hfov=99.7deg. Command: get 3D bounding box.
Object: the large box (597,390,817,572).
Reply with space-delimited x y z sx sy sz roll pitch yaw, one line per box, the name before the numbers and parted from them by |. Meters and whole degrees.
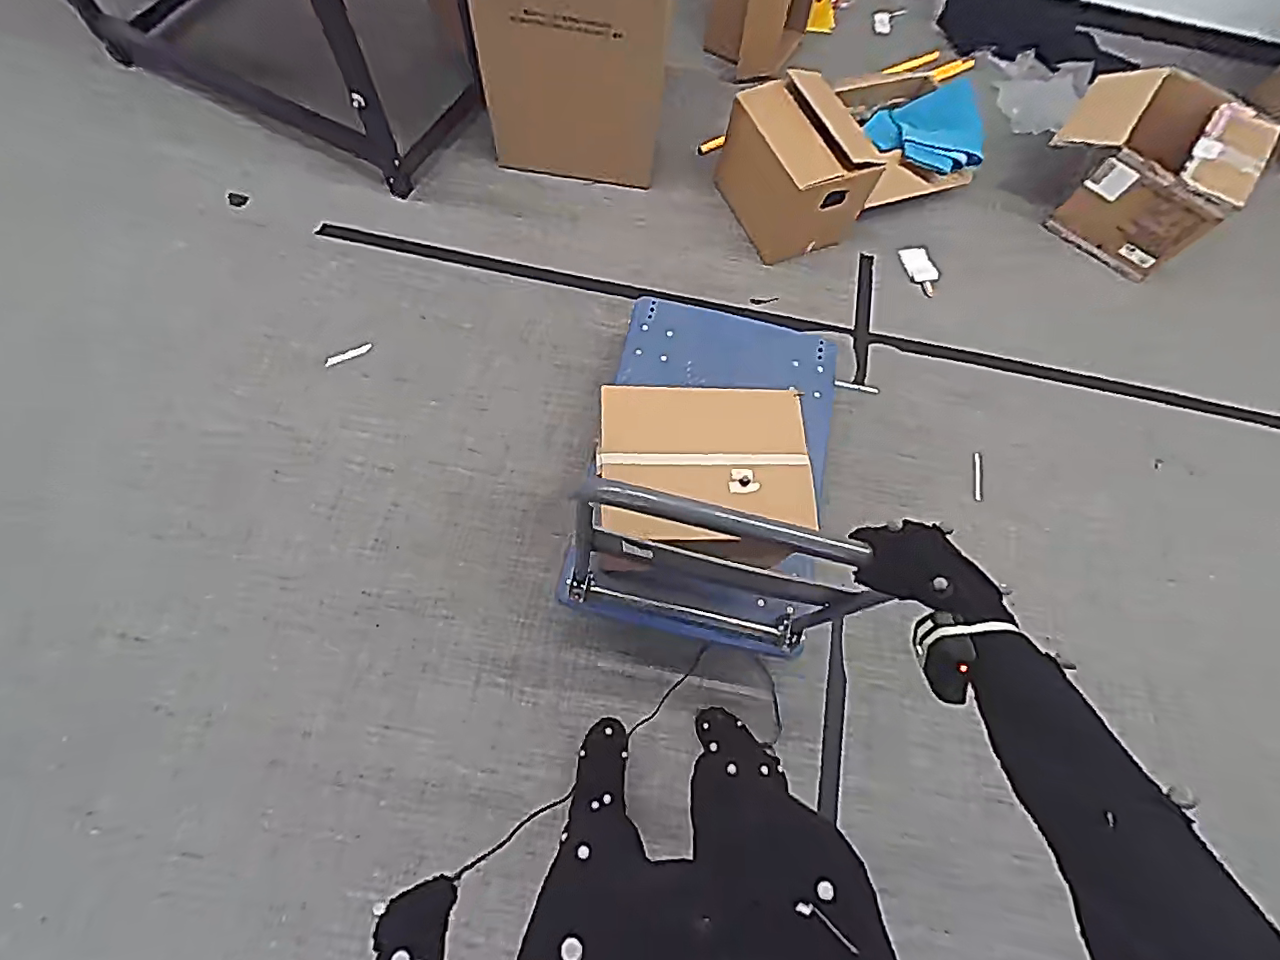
large box | 0.114 0.016 1.178 0.408 0.320 0.320 0 70 -6
